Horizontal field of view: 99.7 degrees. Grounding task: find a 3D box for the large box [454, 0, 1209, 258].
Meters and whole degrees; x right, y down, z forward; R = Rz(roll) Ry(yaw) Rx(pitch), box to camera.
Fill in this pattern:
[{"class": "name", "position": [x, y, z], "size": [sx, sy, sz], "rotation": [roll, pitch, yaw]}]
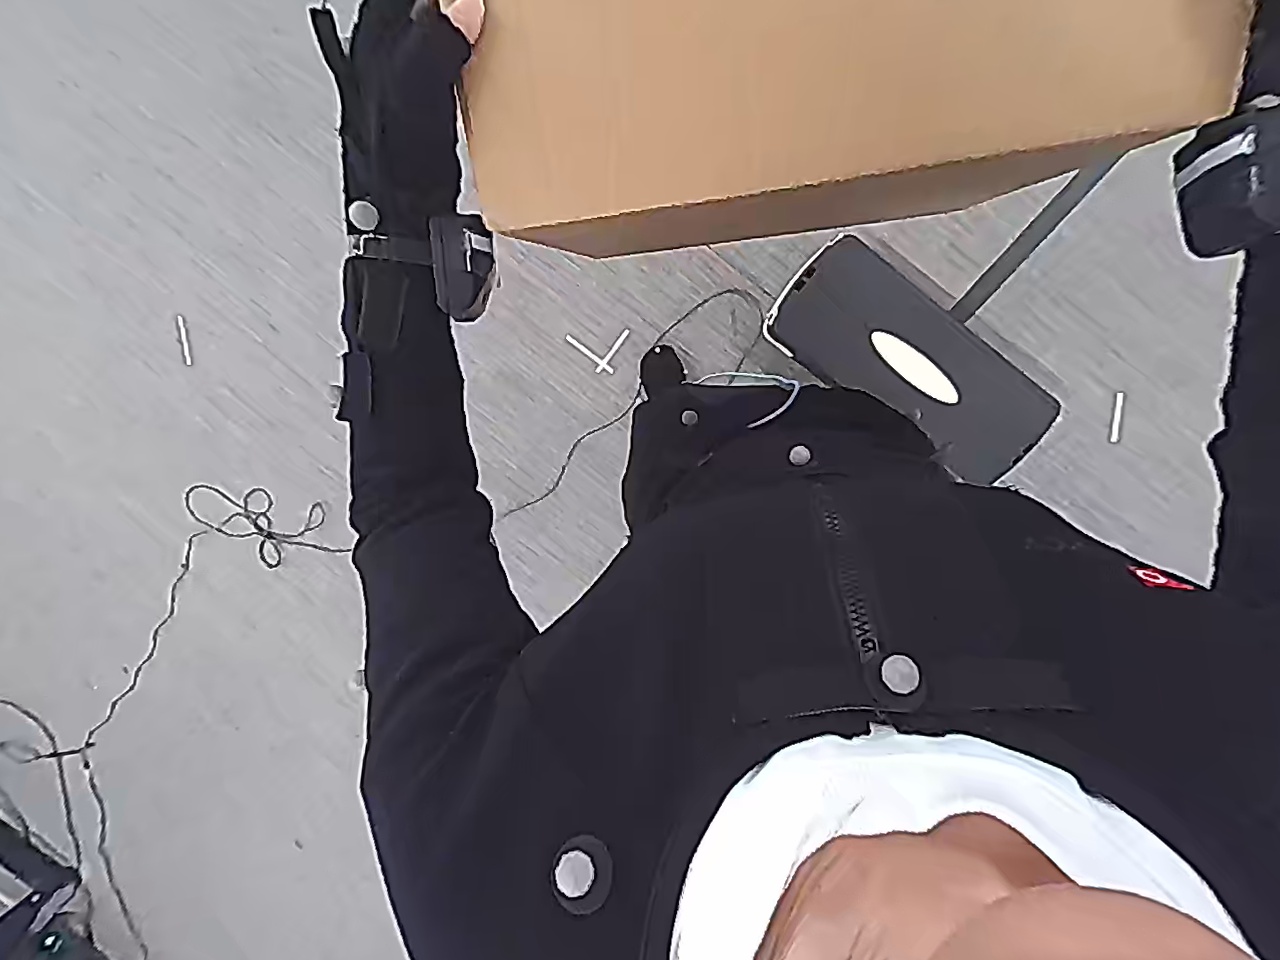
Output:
[{"class": "large box", "position": [0.098, -0.374, 0.415], "size": [0.408, 0.320, 0.320], "rotation": [-5, 109, 9]}]
